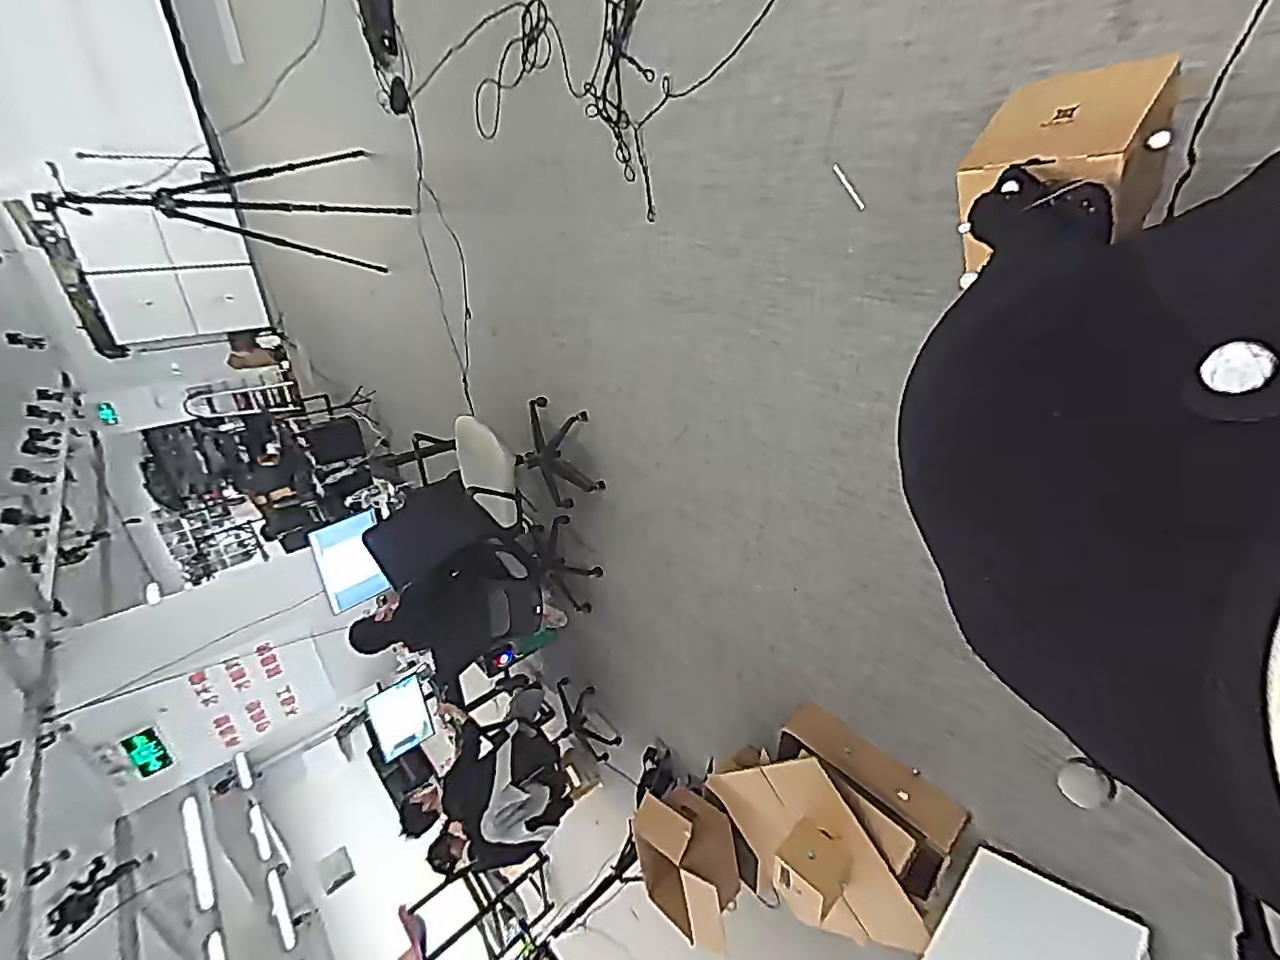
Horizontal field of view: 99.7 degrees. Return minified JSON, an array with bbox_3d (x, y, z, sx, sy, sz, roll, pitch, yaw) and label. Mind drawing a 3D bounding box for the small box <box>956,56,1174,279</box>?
[{"bbox_3d":[0.535,-0.387,0.696,0.168,0.179,0.176,23,162,45],"label":"small box"}]
